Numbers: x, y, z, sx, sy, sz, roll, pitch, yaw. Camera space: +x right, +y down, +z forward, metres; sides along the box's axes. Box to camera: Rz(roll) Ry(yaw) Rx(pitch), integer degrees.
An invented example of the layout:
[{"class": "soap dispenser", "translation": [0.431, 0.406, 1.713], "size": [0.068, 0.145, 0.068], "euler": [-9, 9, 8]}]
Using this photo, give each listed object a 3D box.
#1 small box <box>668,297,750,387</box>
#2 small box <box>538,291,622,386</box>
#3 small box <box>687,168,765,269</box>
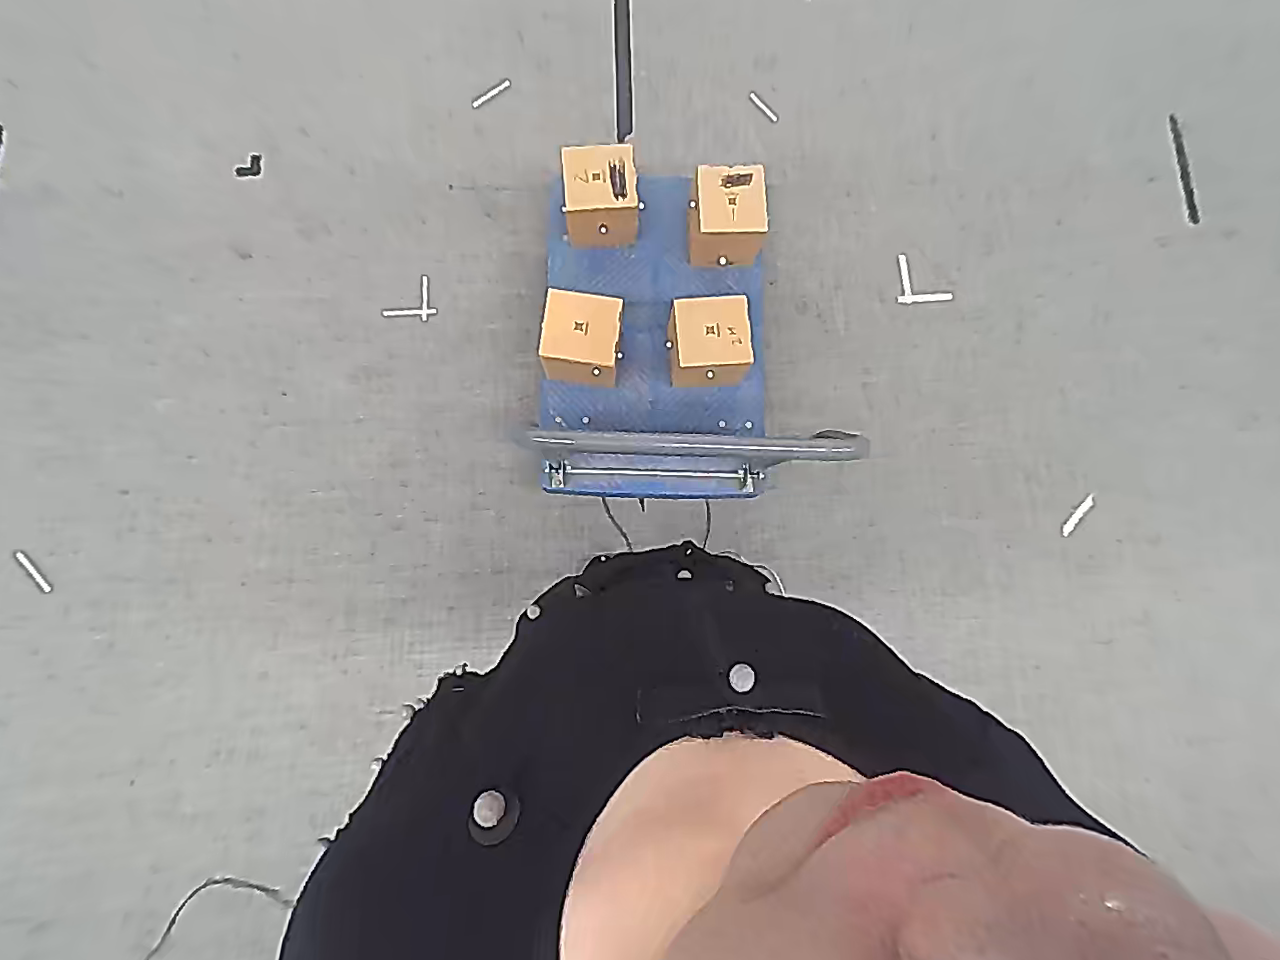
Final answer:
[{"class": "small box", "translation": [0.163, -0.335, 1.341], "size": [0.179, 0.176, 0.168], "euler": [-4, 83, -3]}, {"class": "small box", "translation": [-0.143, -0.339, 1.327], "size": [0.179, 0.176, 0.168], "euler": [7, 81, -3]}, {"class": "small box", "translation": [0.214, -0.666, 1.388], "size": [0.168, 0.176, 0.179], "euler": [-2, 83, -3]}]
